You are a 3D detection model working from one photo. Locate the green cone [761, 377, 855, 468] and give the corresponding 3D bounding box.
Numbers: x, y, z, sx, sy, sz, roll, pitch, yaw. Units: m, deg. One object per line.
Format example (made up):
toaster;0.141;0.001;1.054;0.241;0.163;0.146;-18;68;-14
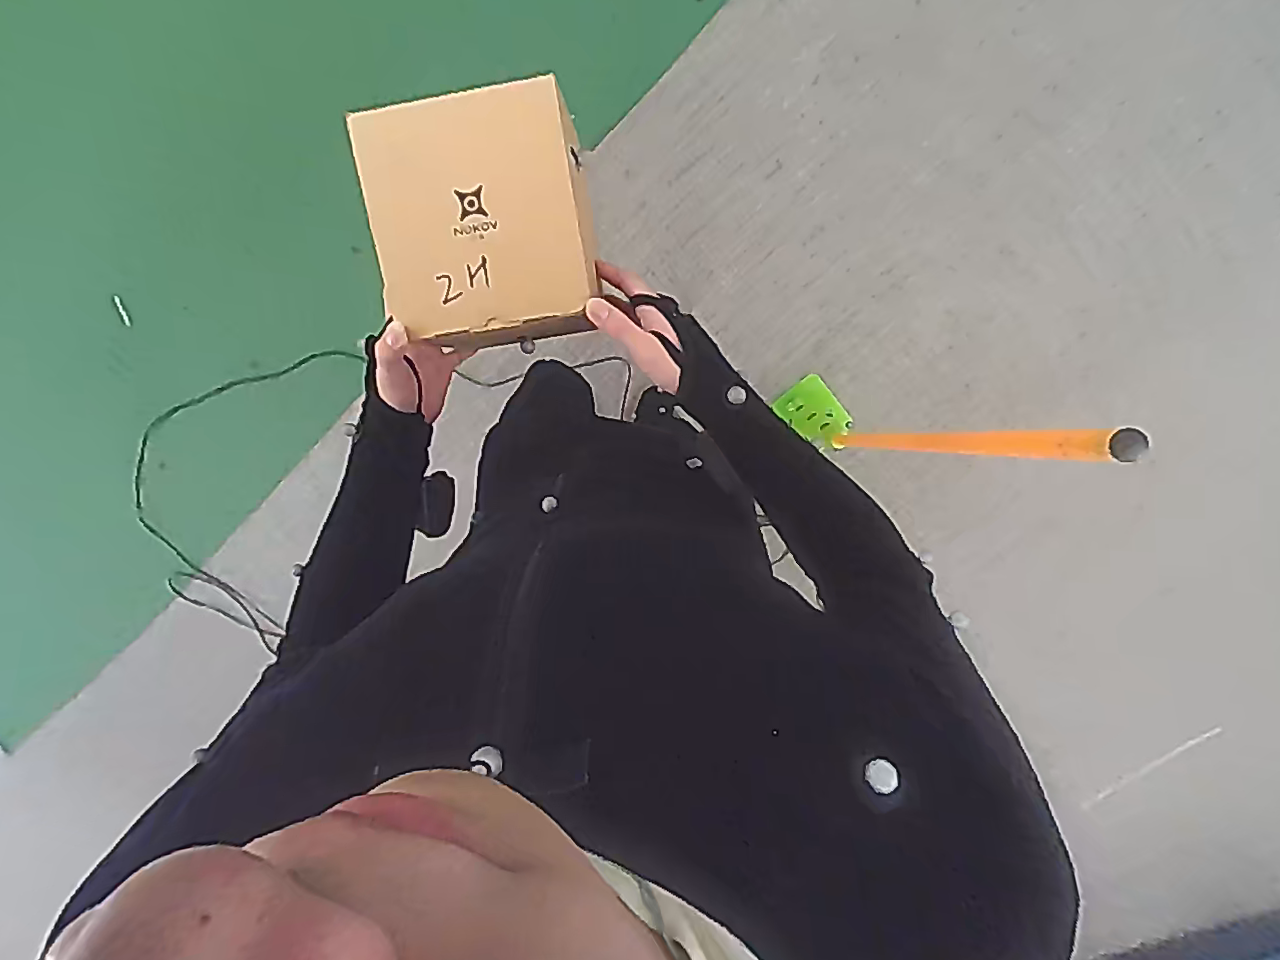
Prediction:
green cone;0.456;-0.120;1.356;0.202;0.368;0.200;-40;96;13
